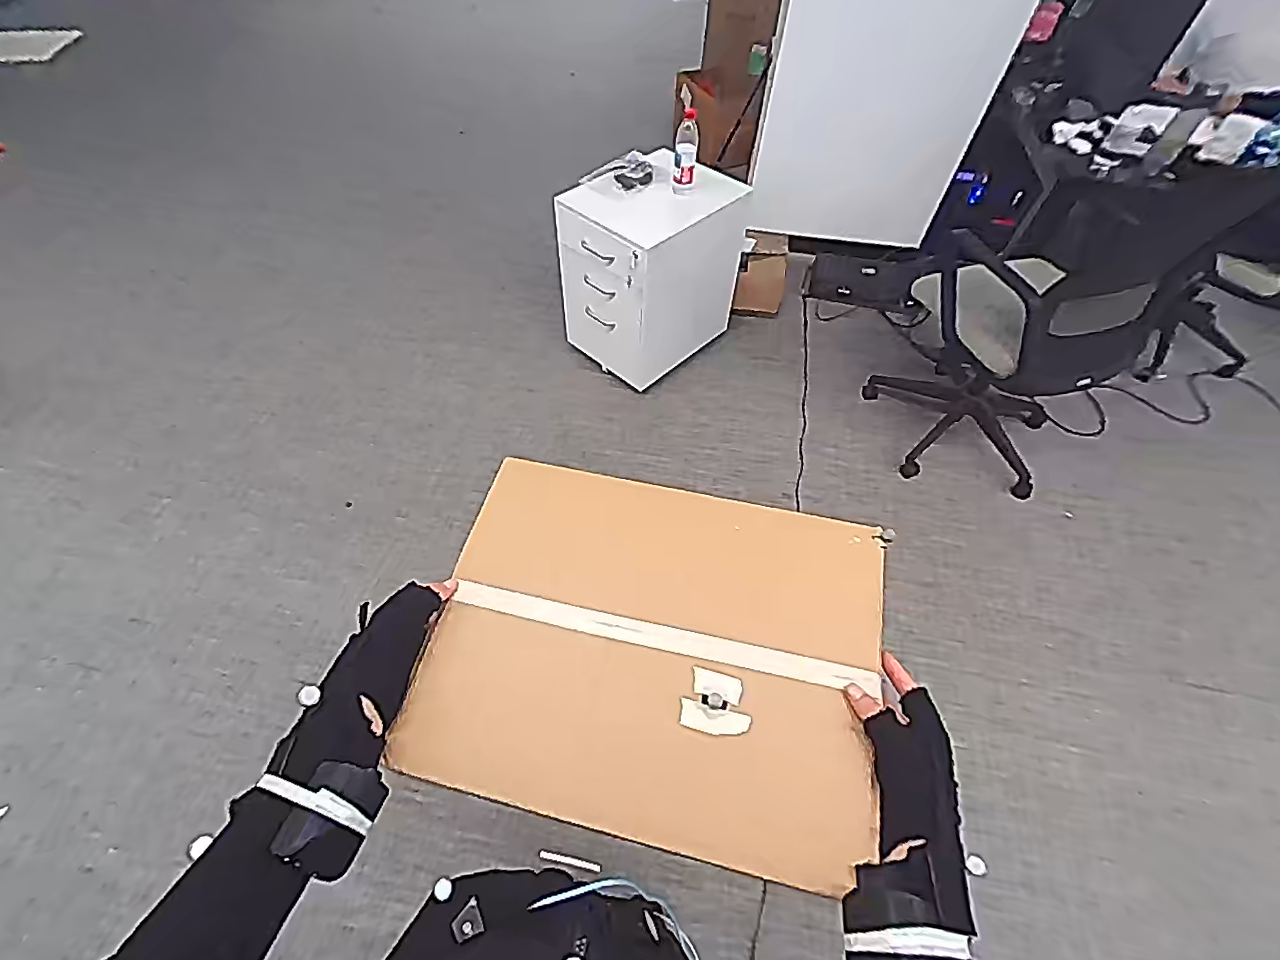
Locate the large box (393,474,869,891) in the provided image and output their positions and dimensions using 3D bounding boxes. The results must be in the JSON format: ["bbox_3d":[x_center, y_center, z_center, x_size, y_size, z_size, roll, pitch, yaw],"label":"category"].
[{"bbox_3d":[0.013,0.229,0.639,0.408,0.320,0.320,11,61,8],"label":"large box"}]
